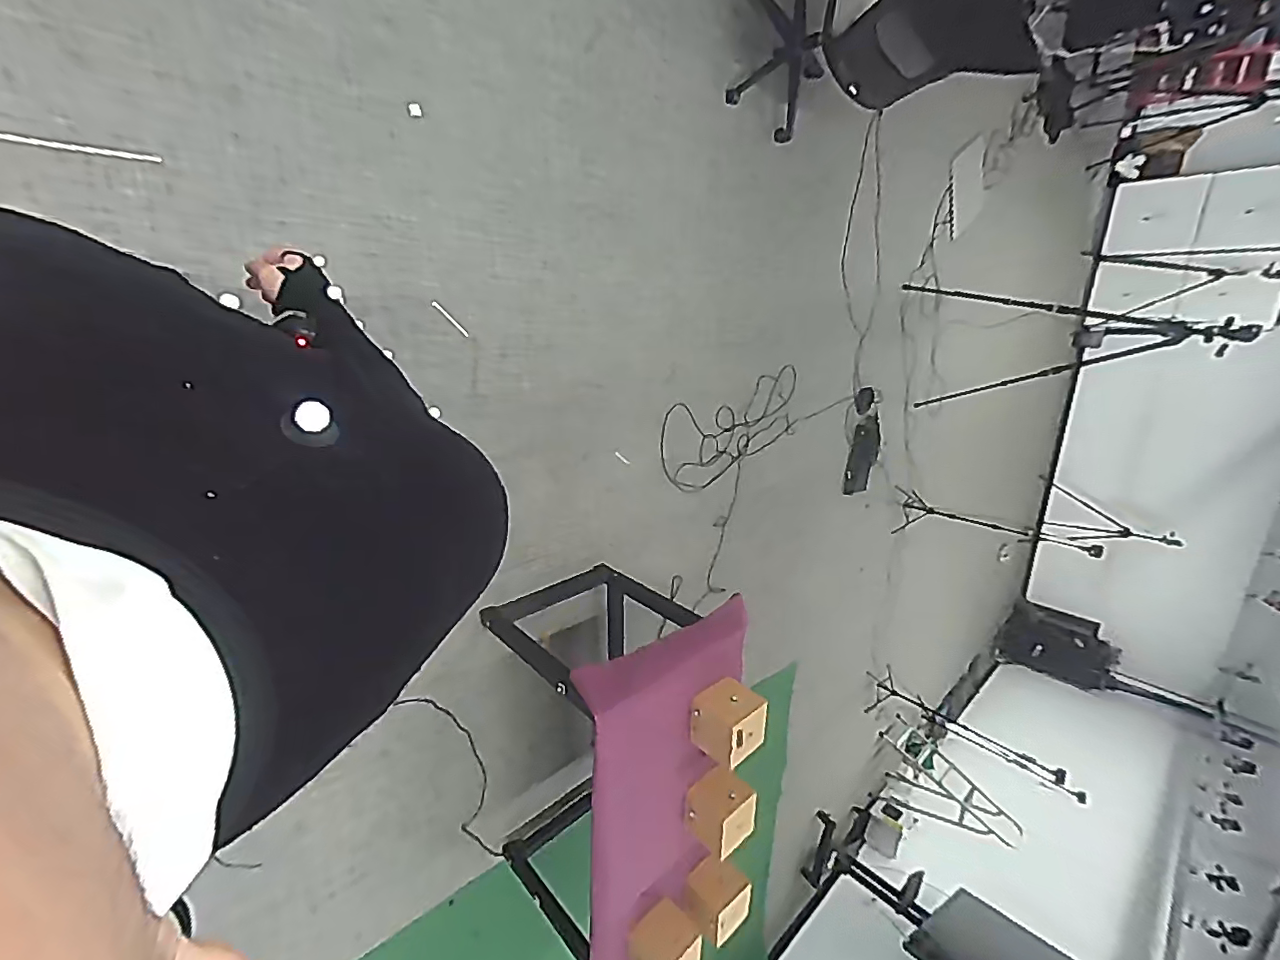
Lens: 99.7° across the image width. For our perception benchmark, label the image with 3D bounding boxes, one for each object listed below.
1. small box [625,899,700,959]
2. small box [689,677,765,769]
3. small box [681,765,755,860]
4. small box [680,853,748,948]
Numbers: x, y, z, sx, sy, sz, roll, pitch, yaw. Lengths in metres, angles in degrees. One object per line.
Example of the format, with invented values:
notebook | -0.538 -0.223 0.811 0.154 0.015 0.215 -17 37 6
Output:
small box | 0.073 1.530 1.759 0.179 0.176 0.168 -12 110 -43
small box | 0.273 0.760 1.712 0.179 0.176 0.168 -14 113 -41
small box | 0.261 1.104 1.813 0.179 0.176 0.168 -12 111 -40
small box | 0.264 1.488 1.933 0.179 0.176 0.168 -14 111 -40
